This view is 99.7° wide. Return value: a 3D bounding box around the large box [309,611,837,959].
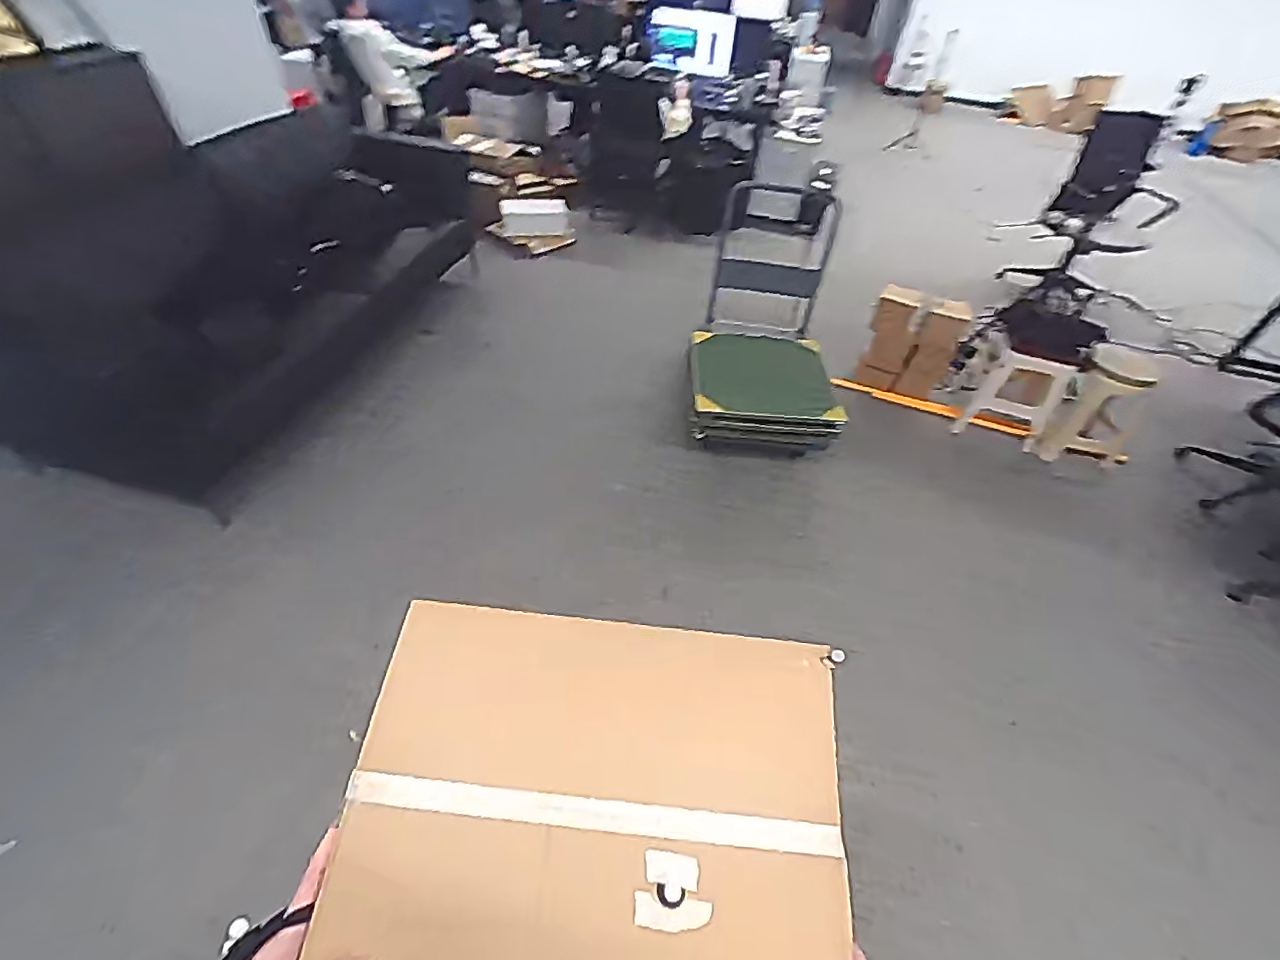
[{"bbox_3d":[-0.047,0.351,0.583,0.408,0.320,0.320,6,61,1],"label":"large box"}]
